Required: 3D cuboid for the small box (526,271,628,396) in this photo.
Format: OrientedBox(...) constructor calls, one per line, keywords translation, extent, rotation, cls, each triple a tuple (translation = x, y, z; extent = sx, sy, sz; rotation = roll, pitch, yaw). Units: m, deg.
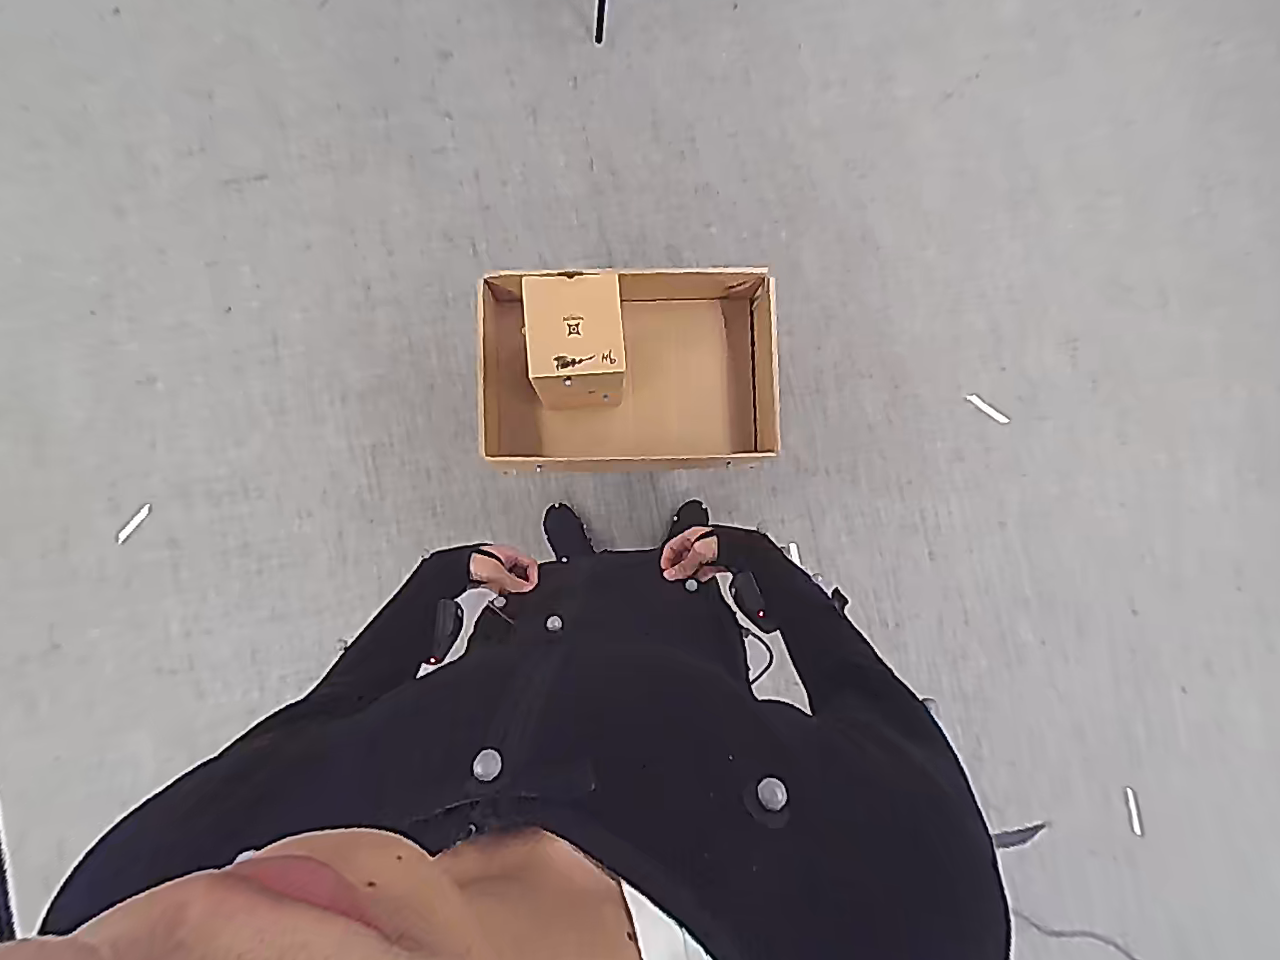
OrientedBox(translation=(-0.113, -0.261, 0.991), extent=(0.168, 0.176, 0.179), rotation=(-4, 87, -4), cls="small box")
